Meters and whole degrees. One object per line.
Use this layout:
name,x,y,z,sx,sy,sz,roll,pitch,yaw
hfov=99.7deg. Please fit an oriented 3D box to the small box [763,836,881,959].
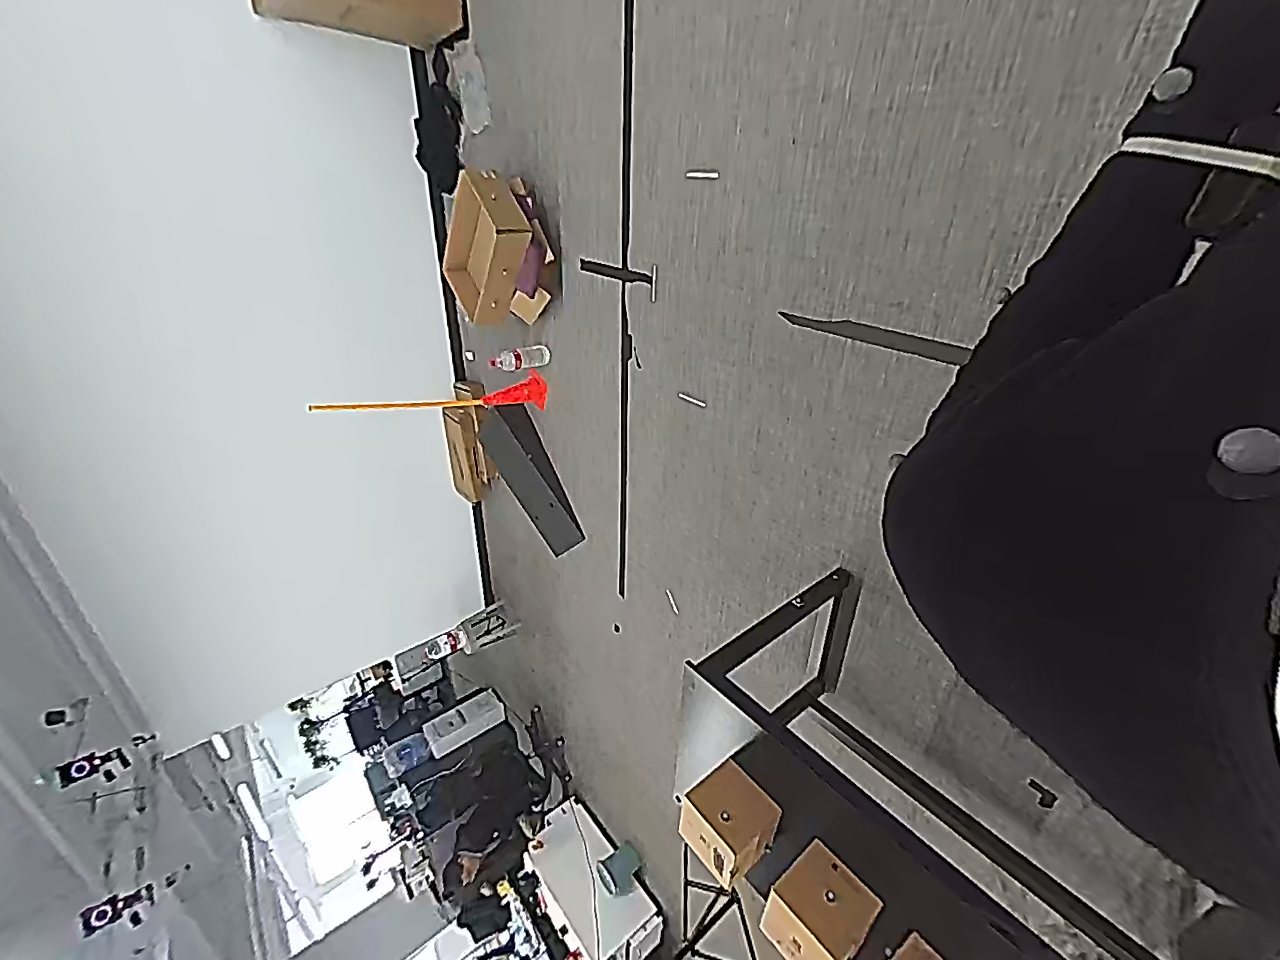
small box,0.396,0.931,1.177,0.168,0.176,0.179,33,131,42

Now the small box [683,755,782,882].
small box,0.231,0.838,1.356,0.179,0.176,0.168,34,132,41
